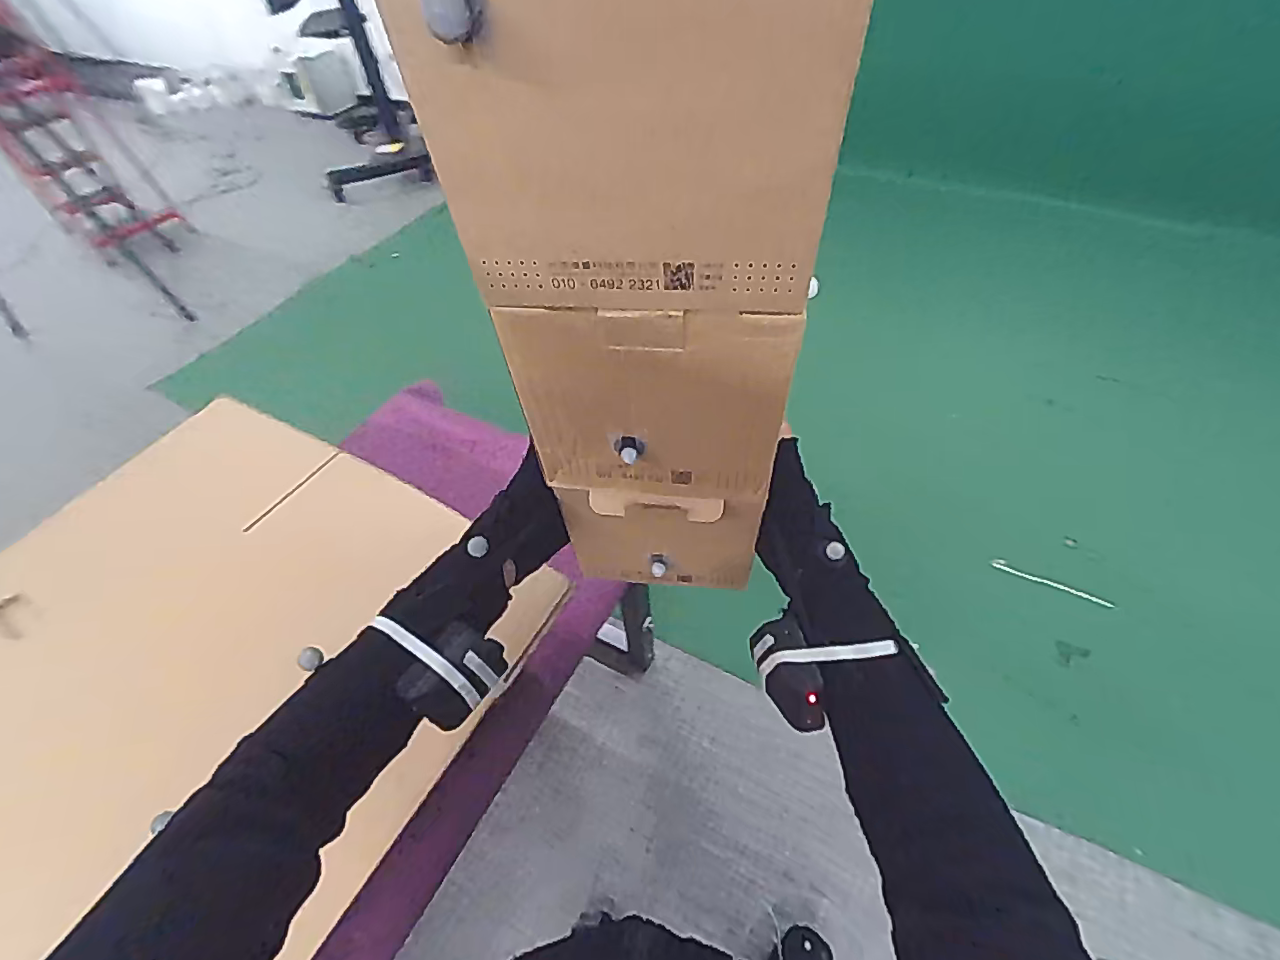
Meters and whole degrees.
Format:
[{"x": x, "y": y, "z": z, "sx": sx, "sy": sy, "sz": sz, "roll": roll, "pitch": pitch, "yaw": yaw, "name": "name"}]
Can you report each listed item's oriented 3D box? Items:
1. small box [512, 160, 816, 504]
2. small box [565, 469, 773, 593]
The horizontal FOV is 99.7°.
[{"x": 0.025, "y": -0.105, "z": 0.396, "sx": 0.168, "sy": 0.176, "sz": 0.179, "roll": 4, "pitch": 55, "yaw": 7, "name": "small box"}, {"x": 0.036, "y": -0.011, "z": 0.528, "sx": 0.168, "sy": 0.176, "sz": 0.179, "roll": 5, "pitch": 55, "yaw": 8, "name": "small box"}]
